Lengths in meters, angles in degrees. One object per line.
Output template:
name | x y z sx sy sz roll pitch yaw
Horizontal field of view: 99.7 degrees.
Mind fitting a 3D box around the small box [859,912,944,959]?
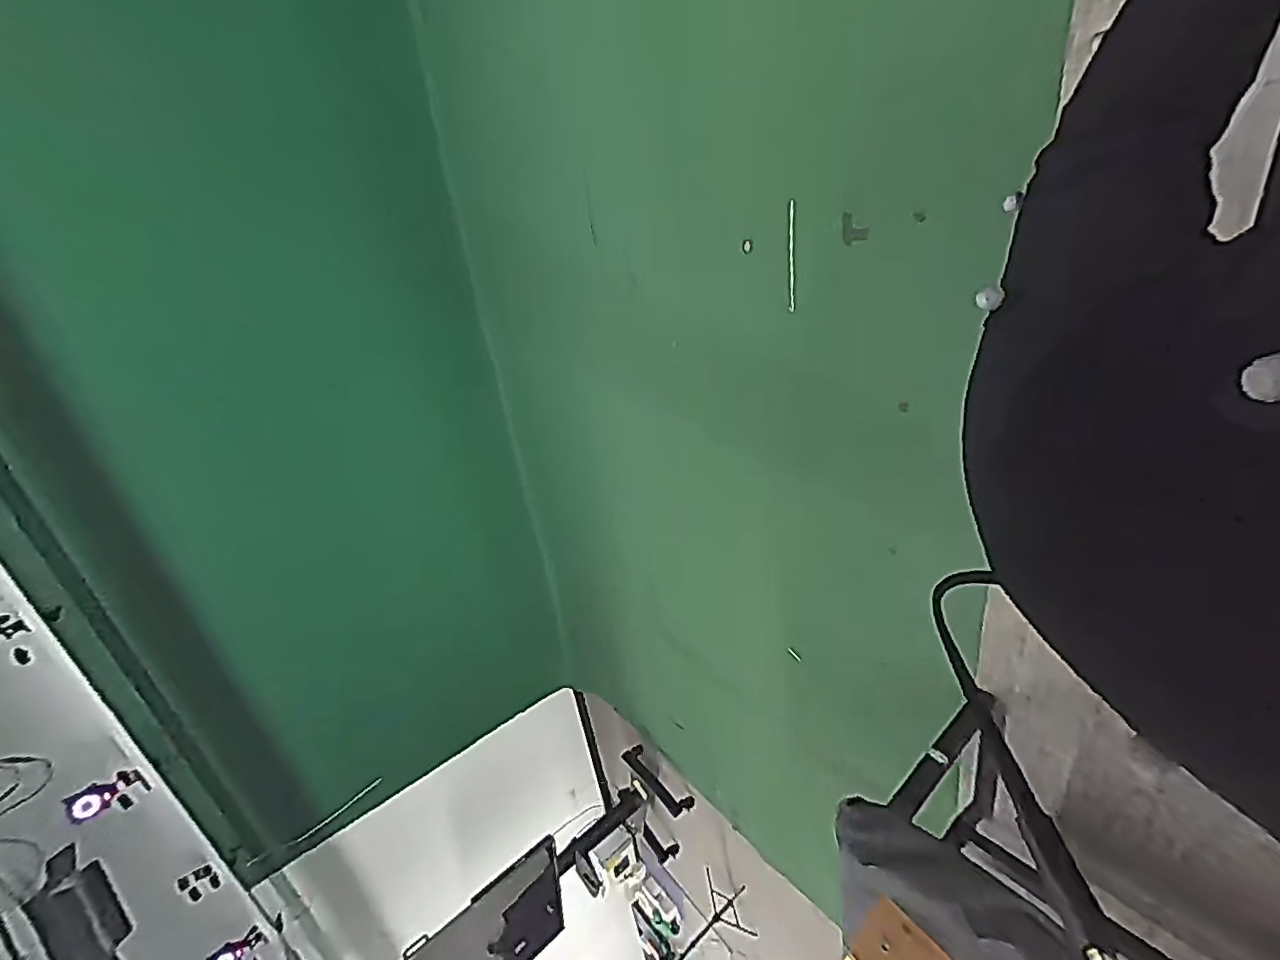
small box | 0.573 1.104 1.182 0.168 0.176 0.179 35 139 41
